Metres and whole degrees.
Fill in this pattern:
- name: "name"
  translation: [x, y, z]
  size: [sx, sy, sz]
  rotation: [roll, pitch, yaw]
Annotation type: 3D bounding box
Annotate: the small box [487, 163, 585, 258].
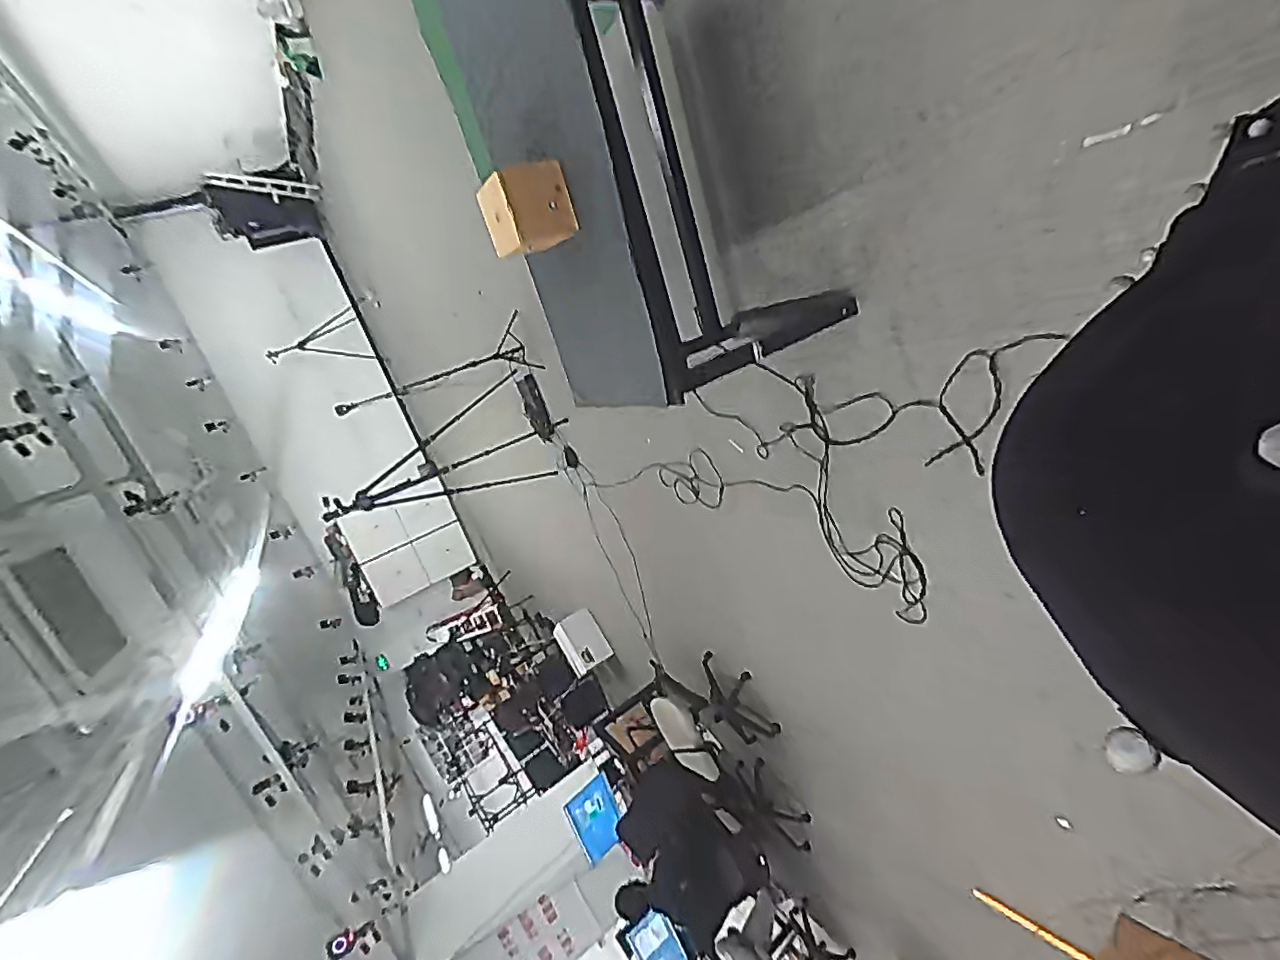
- name: "small box"
  translation: [-0.266, -0.688, 1.388]
  size: [0.179, 0.176, 0.168]
  rotation: [13, 126, 57]
